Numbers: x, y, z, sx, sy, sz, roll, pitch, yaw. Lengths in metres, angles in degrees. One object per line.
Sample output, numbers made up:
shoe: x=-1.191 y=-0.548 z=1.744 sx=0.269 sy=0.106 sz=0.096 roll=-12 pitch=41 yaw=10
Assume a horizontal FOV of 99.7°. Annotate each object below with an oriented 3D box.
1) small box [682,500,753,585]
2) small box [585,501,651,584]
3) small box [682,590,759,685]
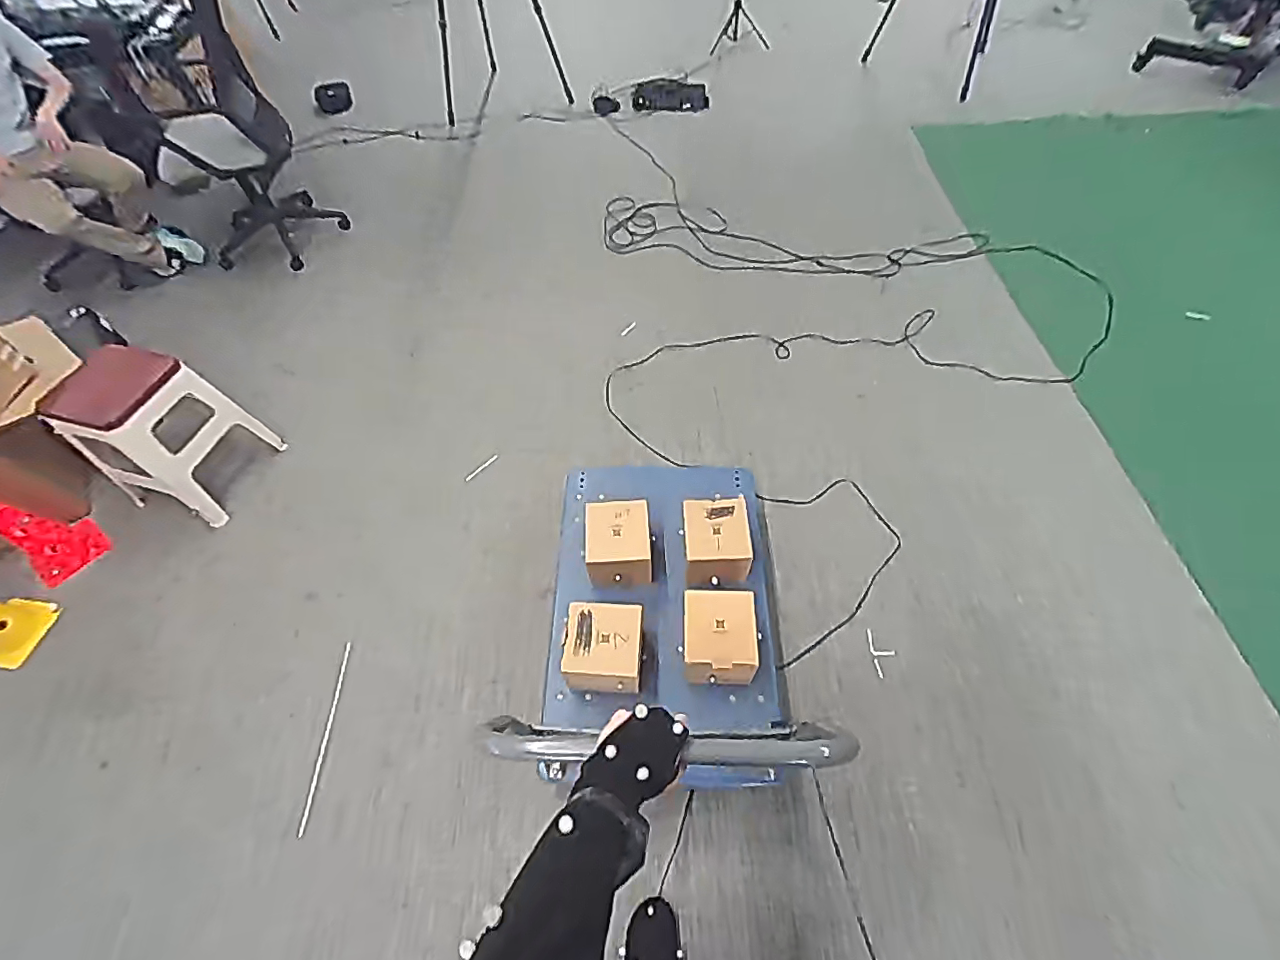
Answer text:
small box: x=0.200 y=0.169 z=1.445 sx=0.168 sy=0.176 sz=0.179 roll=-2 pitch=58 yaw=2
small box: x=-0.055 y=0.174 z=1.452 sx=0.168 sy=0.176 sz=0.179 roll=-3 pitch=57 yaw=0
small box: x=0.188 y=0.382 z=1.308 sx=0.168 sy=0.176 sz=0.179 roll=1 pitch=58 yaw=3
